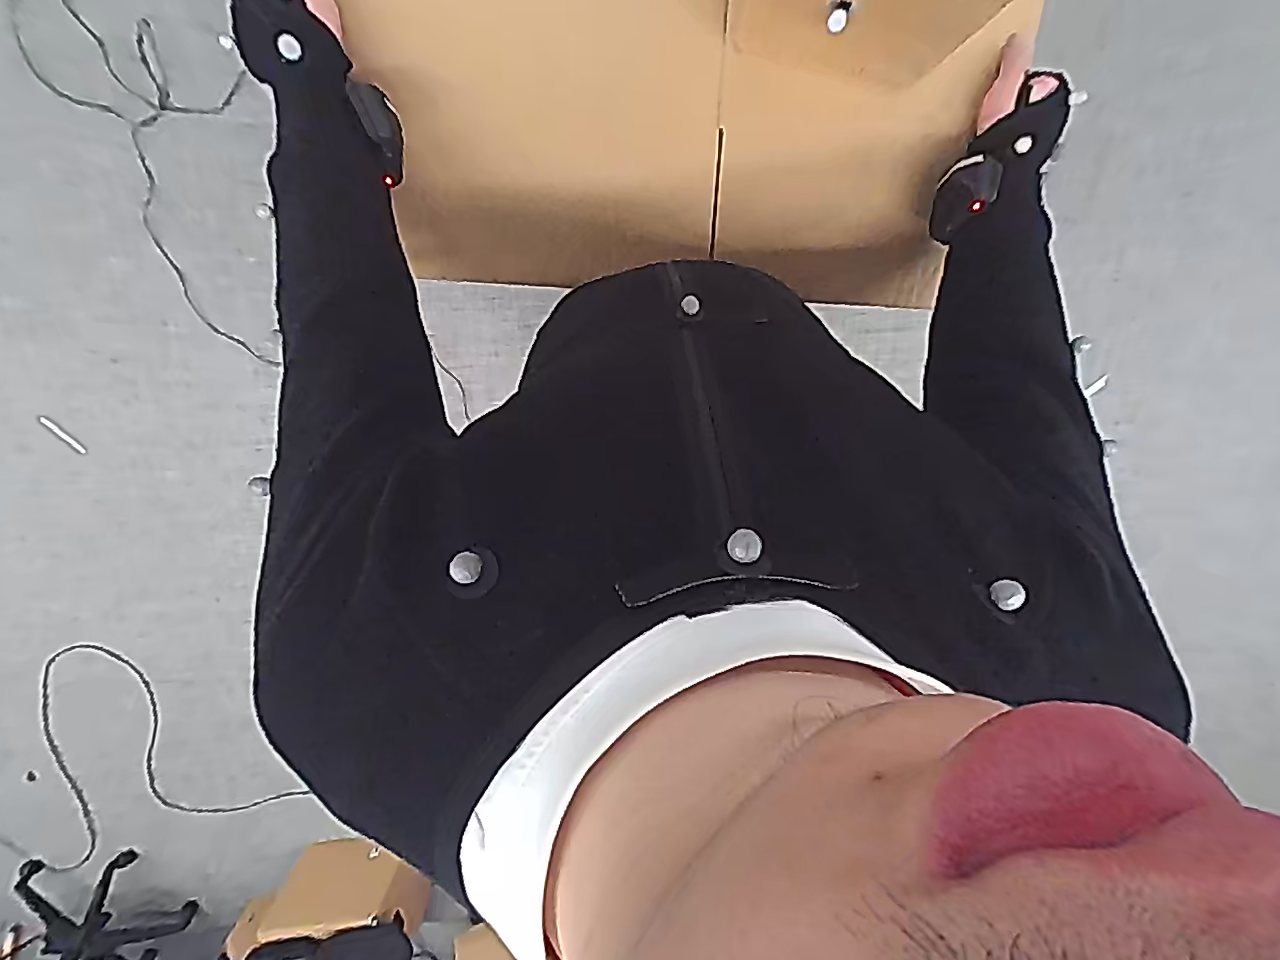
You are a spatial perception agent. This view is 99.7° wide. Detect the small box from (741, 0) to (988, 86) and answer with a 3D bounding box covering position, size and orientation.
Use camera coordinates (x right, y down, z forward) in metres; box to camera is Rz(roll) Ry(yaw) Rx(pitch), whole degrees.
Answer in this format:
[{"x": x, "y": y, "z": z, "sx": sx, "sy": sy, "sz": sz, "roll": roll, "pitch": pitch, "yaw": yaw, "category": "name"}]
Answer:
[{"x": 0.194, "y": -0.456, "z": 0.432, "sx": 0.179, "sy": 0.176, "sz": 0.168, "roll": 13, "pitch": 105, "yaw": -4, "category": "small box"}]
